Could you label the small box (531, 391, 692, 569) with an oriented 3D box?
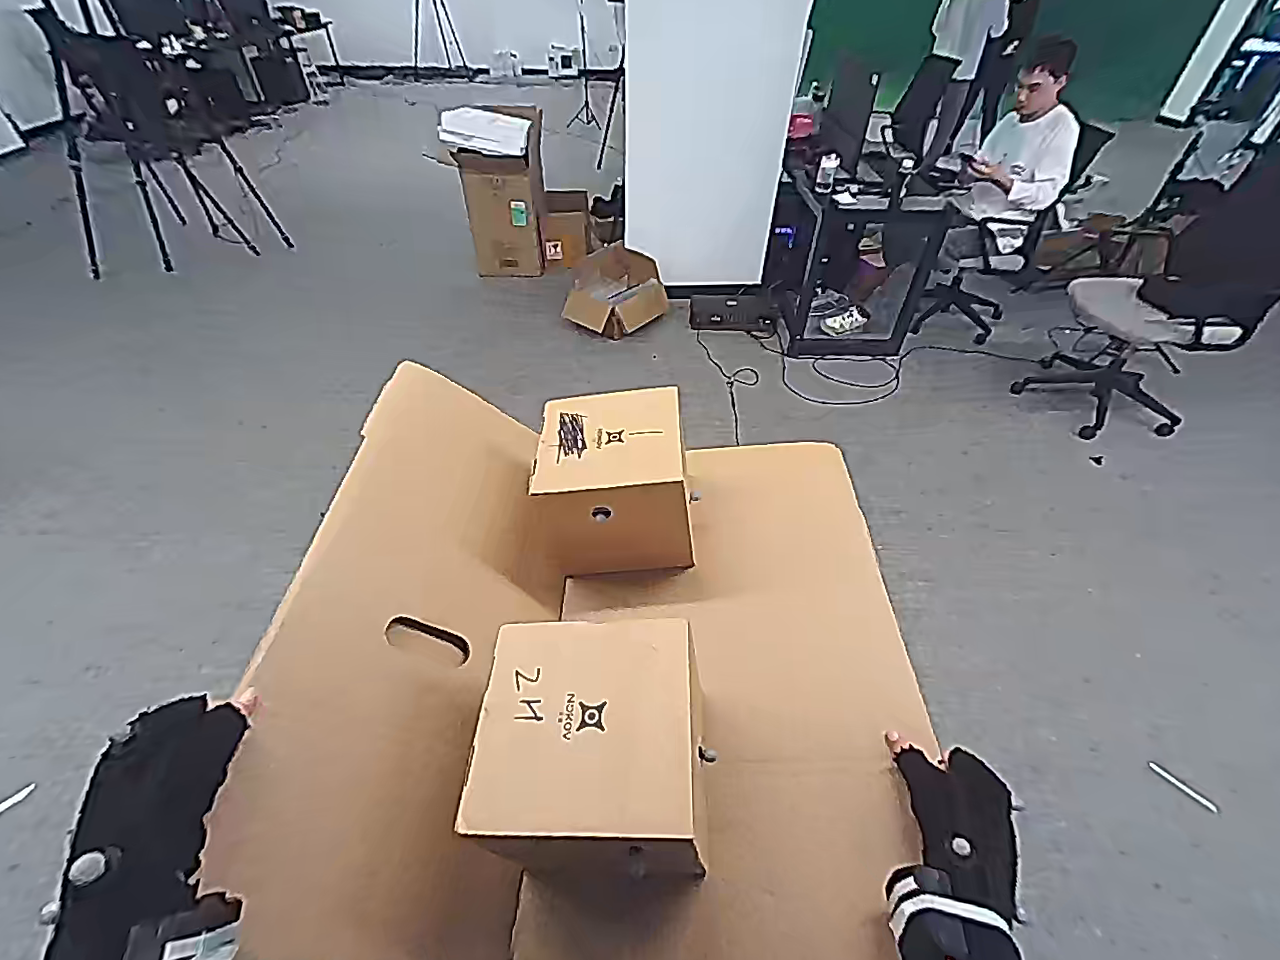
[{"bbox_3d":[-0.027,0.005,0.719,0.179,0.176,0.168,-5,47,6],"label":"small box"}]
